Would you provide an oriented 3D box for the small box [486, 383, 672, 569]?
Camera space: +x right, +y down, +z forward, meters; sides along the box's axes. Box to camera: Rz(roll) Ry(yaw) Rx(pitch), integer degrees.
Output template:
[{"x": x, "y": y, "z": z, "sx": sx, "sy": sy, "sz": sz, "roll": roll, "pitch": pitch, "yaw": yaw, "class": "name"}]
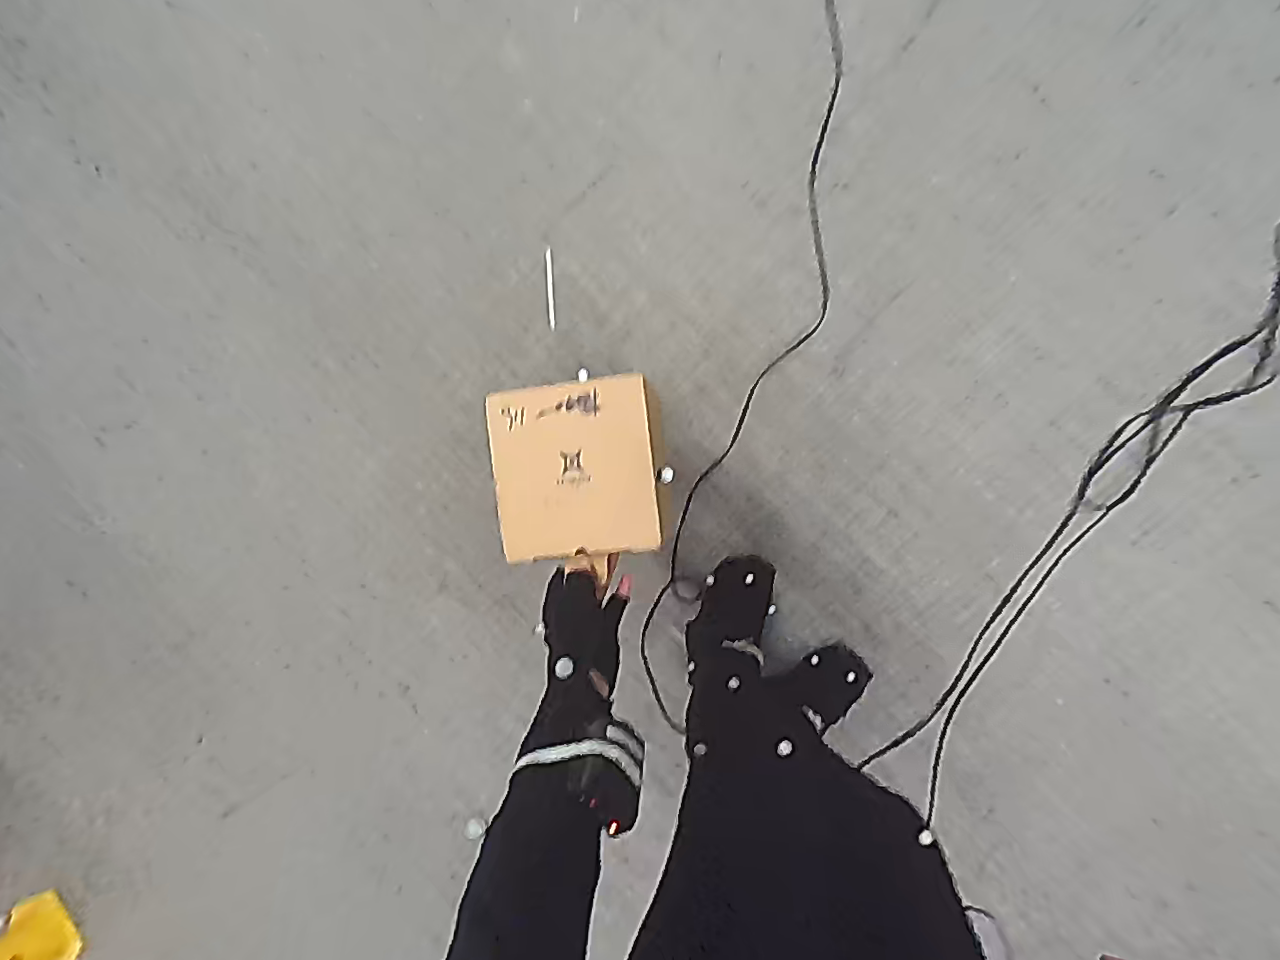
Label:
[{"x": -0.056, "y": -0.007, "z": 0.614, "sx": 0.168, "sy": 0.176, "sz": 0.179, "roll": -5, "pitch": 92, "yaw": 8, "class": "small box"}]
